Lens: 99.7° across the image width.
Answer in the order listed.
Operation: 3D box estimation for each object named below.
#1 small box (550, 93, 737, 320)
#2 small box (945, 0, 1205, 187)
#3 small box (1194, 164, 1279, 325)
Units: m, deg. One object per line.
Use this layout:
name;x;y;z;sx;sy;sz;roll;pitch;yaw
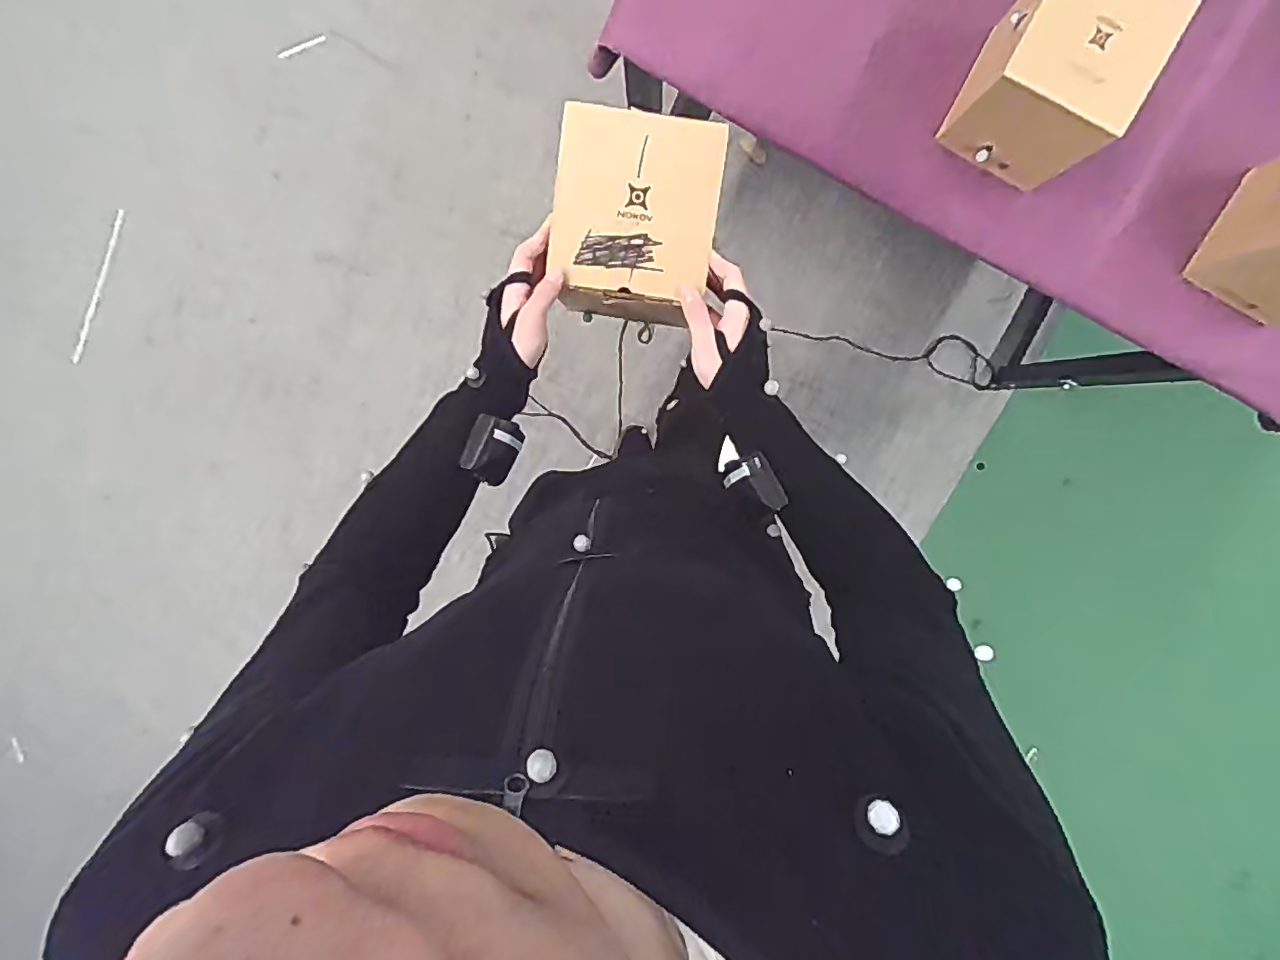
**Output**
small box;0.003;-0.287;0.610;0.168;0.176;0.179;8;98;-1
small box;0.545;-0.531;0.708;0.168;0.176;0.179;27;97;-2
small box;0.928;-0.335;0.726;0.168;0.176;0.179;29;95;-2
